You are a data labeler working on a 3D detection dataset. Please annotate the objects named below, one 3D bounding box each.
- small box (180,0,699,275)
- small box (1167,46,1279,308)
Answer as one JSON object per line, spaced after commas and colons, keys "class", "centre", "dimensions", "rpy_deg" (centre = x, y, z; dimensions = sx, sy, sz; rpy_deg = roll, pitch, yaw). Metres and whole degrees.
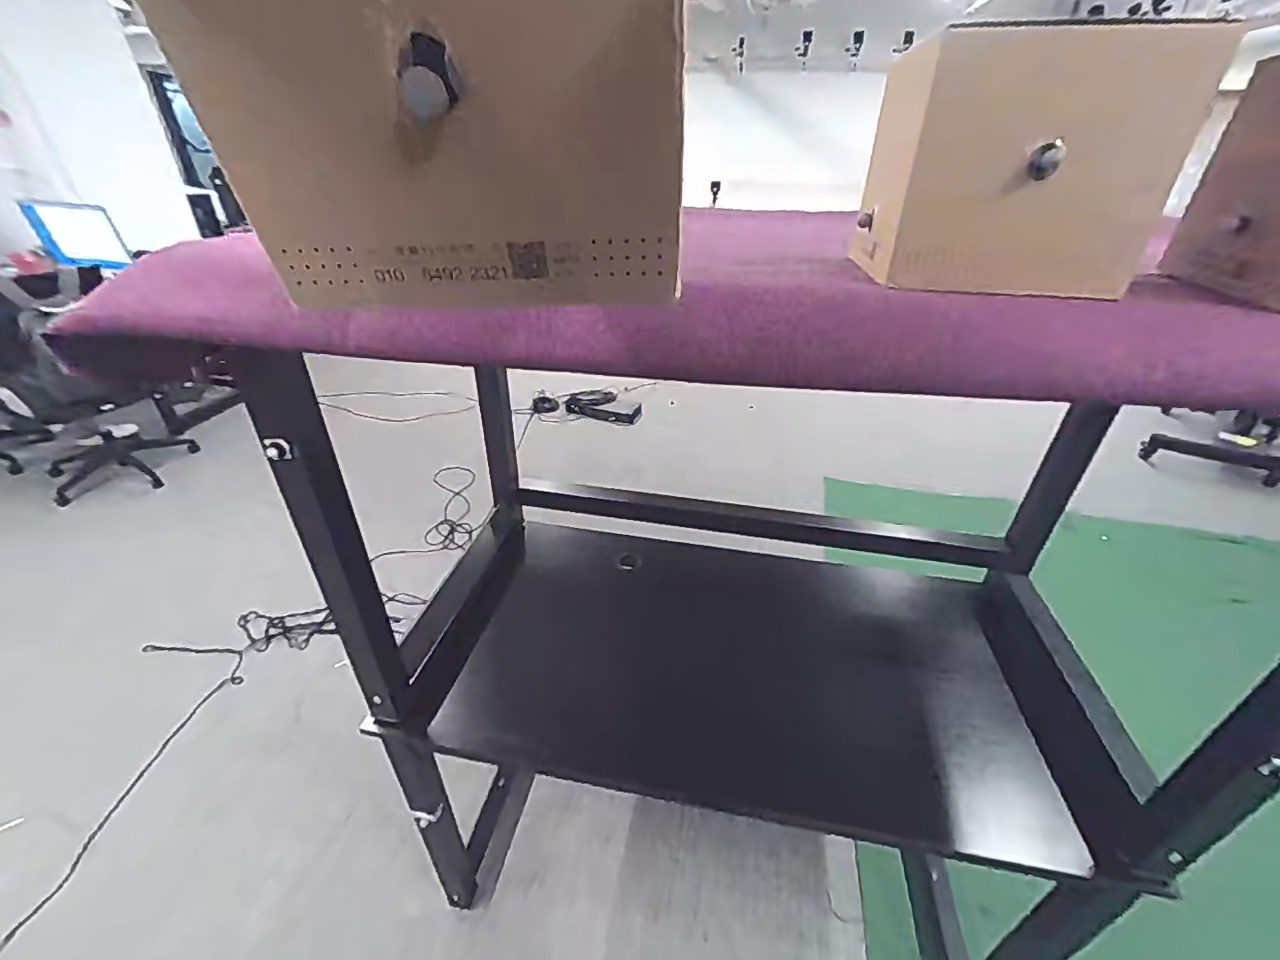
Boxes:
{"class": "small box", "centre": [-0.061, -0.200, 0.227], "dimensions": [0.168, 0.176, 0.179], "rpy_deg": [-1, 46, 1]}
{"class": "small box", "centre": [0.571, -0.225, 0.400], "dimensions": [0.179, 0.176, 0.168], "rpy_deg": [6, 33, 10]}
